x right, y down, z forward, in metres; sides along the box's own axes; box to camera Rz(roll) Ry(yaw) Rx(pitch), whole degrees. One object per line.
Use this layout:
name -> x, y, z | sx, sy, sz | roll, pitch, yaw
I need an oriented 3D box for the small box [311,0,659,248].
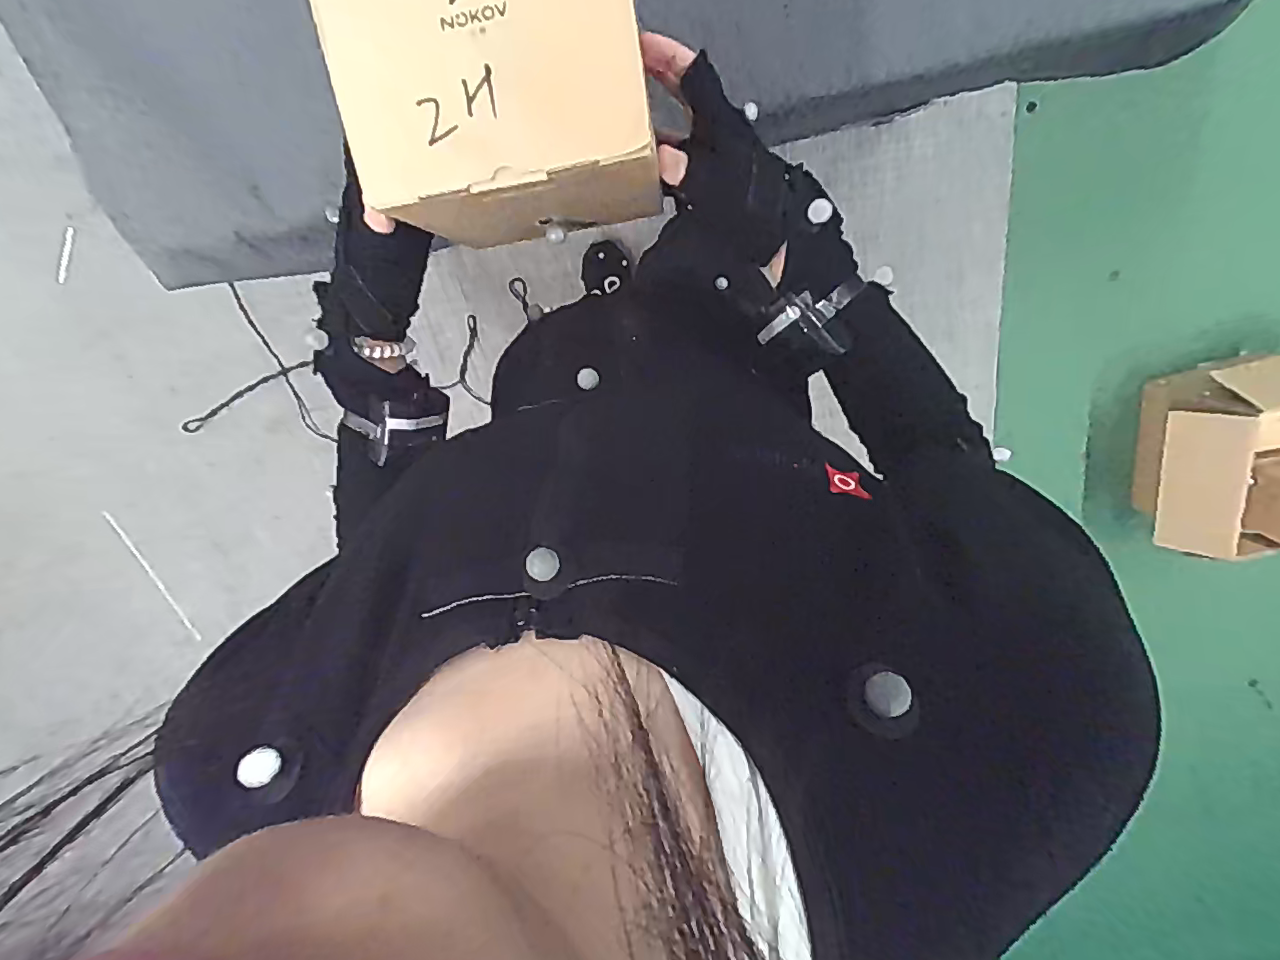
small box -> -0.082, -0.265, 0.351 | 0.168, 0.176, 0.179 | -8, 106, 7
